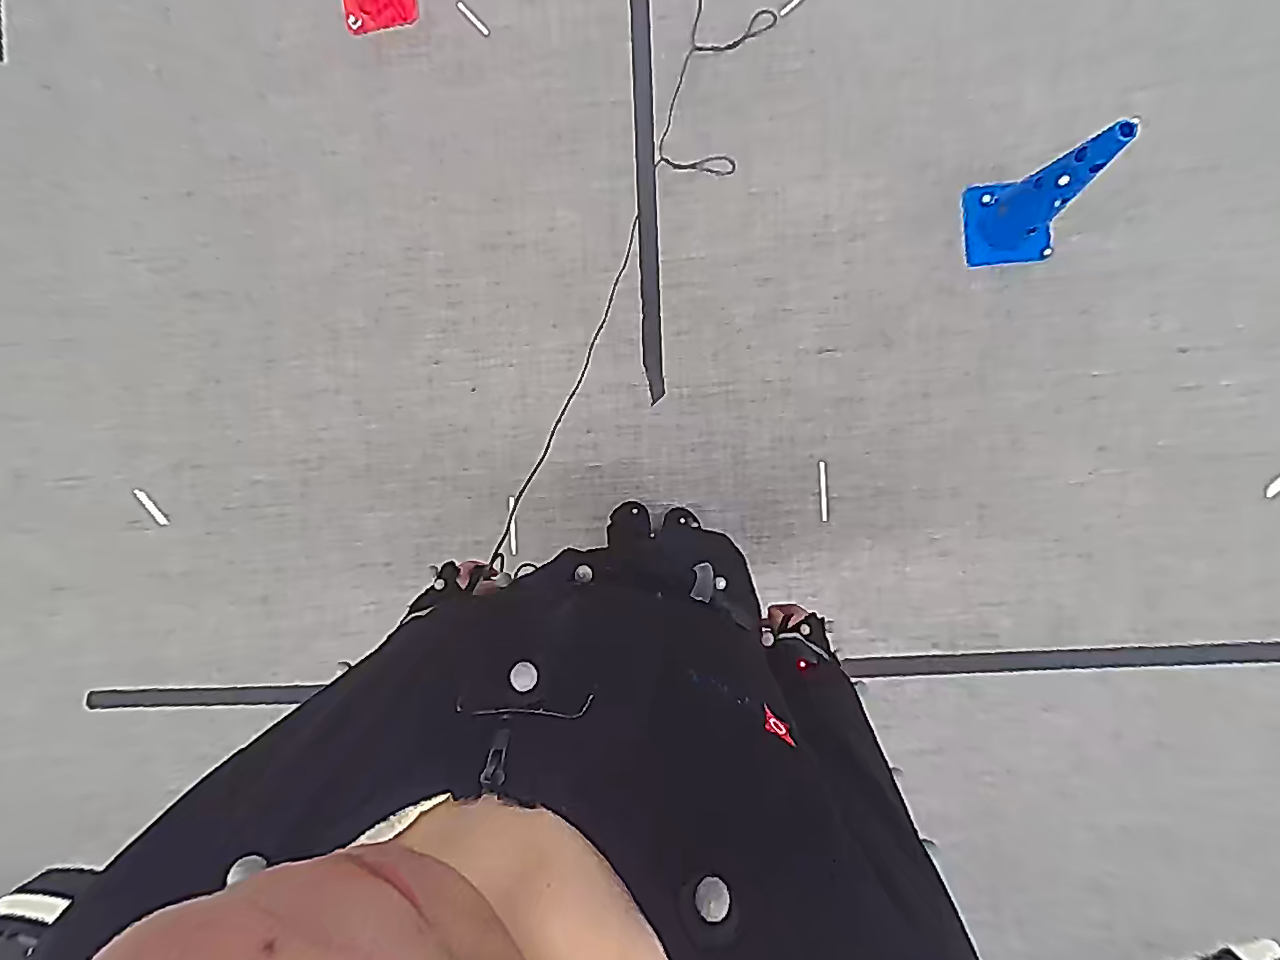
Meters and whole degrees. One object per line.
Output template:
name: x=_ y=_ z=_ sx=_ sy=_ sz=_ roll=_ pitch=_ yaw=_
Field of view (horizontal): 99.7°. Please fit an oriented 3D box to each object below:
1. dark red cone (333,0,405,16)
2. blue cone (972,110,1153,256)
dark red cone: x=-0.721 y=-1.322 z=1.249 sx=0.201 sy=0.394 sz=0.202 roll=-10 pitch=88 yaw=3
blue cone: x=0.900 y=-0.643 z=1.154 sx=0.192 sy=0.380 sz=0.193 roll=-2 pitch=89 yaw=3
